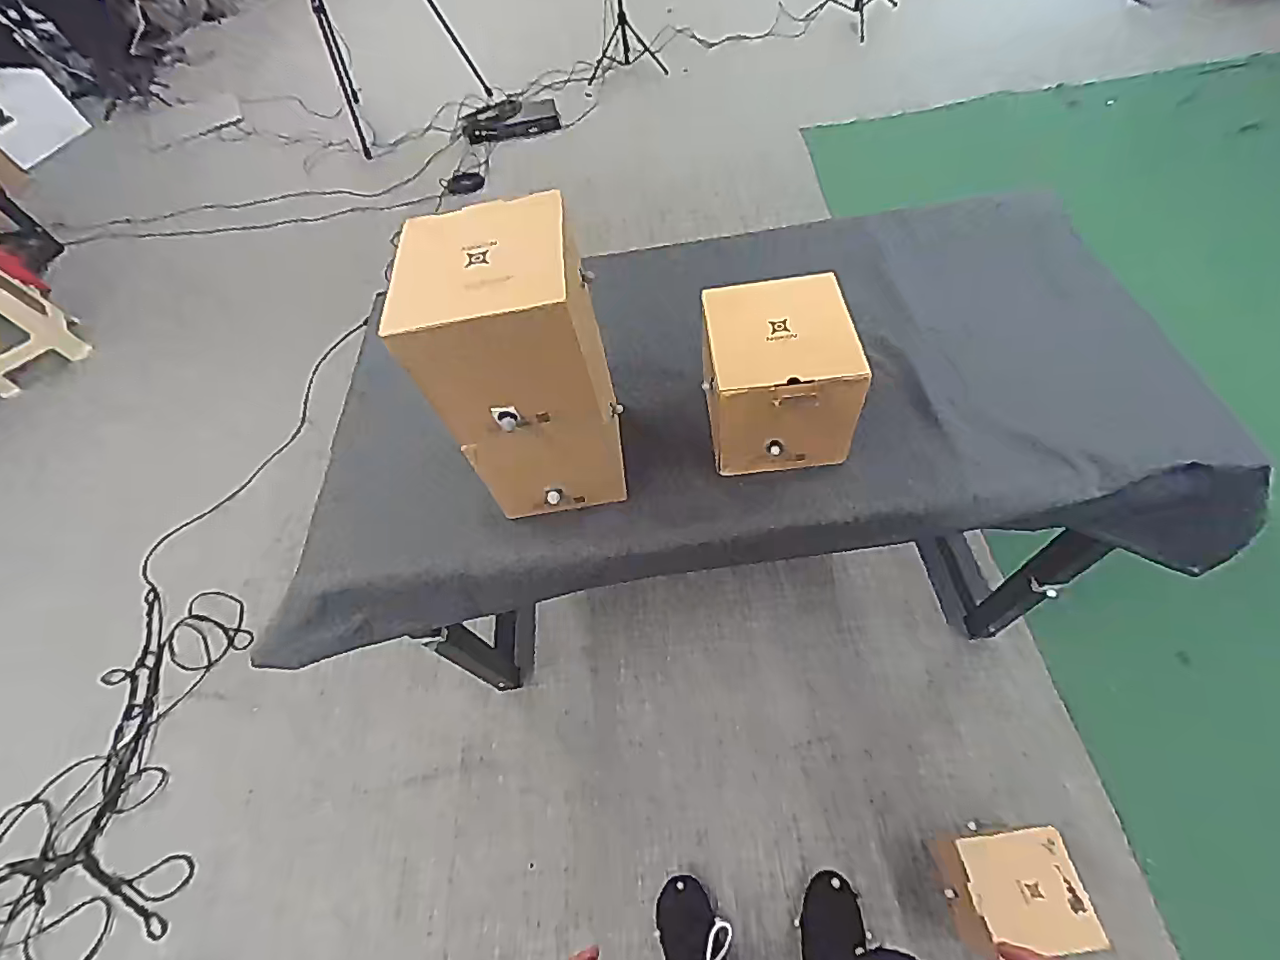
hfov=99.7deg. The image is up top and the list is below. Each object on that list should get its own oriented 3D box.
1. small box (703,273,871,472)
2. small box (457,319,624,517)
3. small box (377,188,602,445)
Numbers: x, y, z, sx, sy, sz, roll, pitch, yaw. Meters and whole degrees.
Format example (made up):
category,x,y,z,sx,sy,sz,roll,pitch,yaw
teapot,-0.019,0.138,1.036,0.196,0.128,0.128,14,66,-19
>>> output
category,x,y,z,sx,sy,sz,roll,pitch,yaw
small box,0.170,-0.132,0.691,0.168,0.176,0.179,-6,57,4
small box,-0.118,-0.076,0.696,0.168,0.176,0.179,-9,57,3
small box,-0.139,-0.162,0.560,0.168,0.176,0.179,-10,58,3
